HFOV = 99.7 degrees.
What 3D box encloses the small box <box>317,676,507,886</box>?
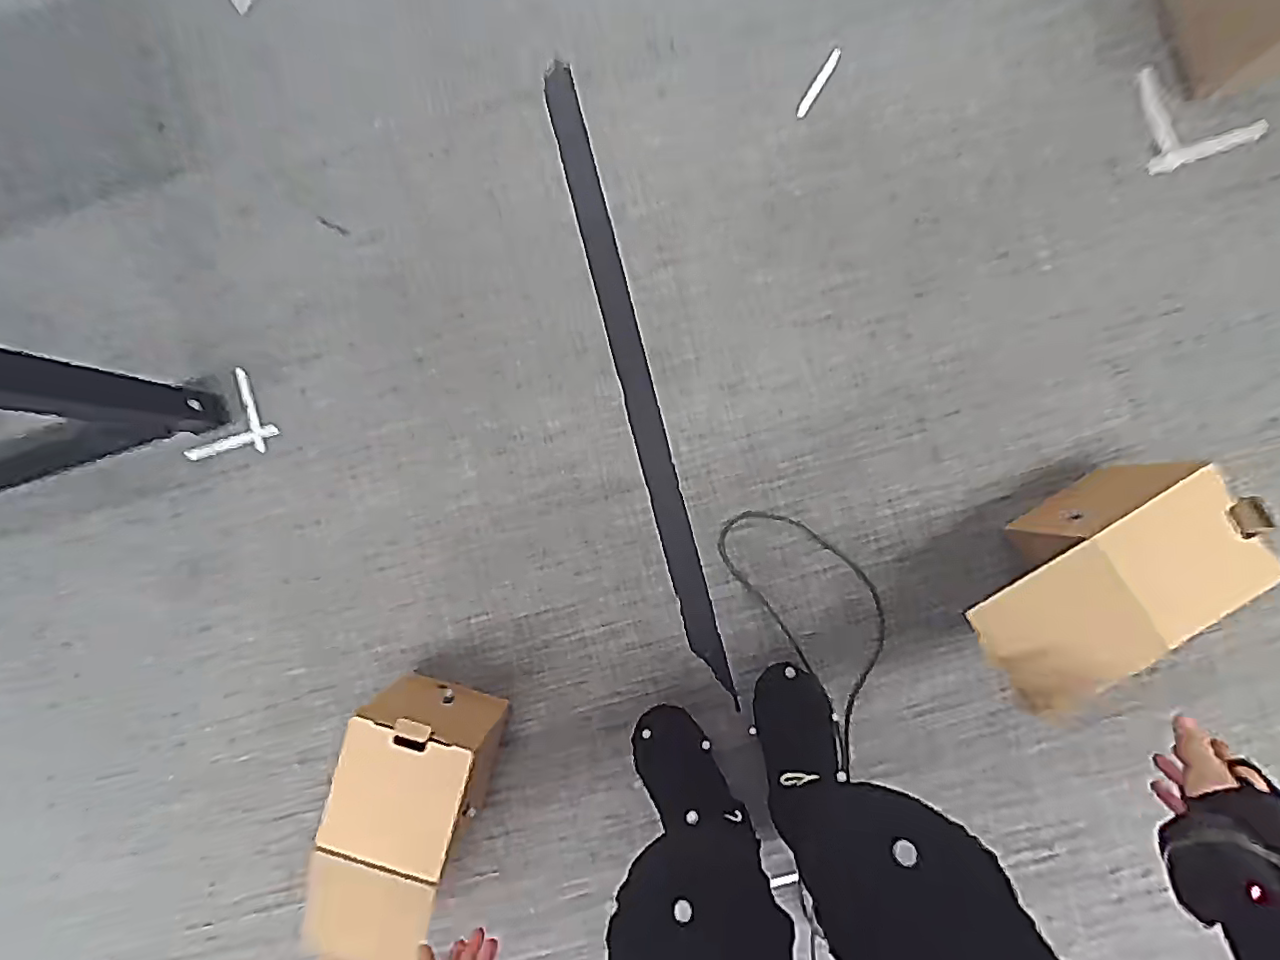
[{"bbox_3d":[-0.302,0.402,0.754,0.168,0.176,0.179,15,89,3],"label":"small box"}]
